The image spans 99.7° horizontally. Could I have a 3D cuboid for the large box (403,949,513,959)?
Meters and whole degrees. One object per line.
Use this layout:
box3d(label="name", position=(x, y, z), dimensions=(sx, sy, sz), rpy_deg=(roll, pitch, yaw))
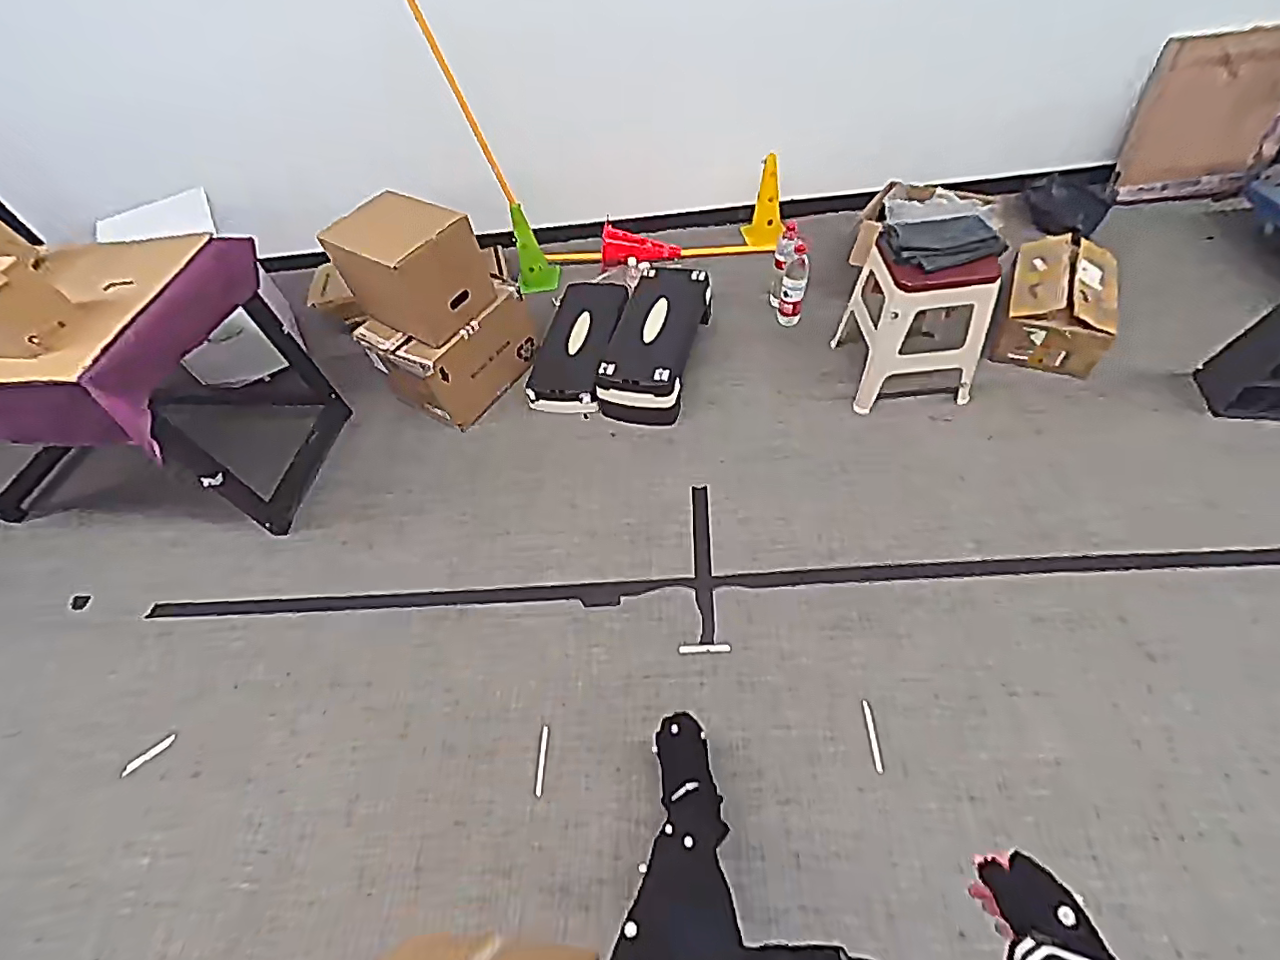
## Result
box3d(label="large box", position=(-0.256, 0.824, 0.607), dimensions=(0.320, 0.408, 0.320), rpy_deg=(-6, 70, 12))
